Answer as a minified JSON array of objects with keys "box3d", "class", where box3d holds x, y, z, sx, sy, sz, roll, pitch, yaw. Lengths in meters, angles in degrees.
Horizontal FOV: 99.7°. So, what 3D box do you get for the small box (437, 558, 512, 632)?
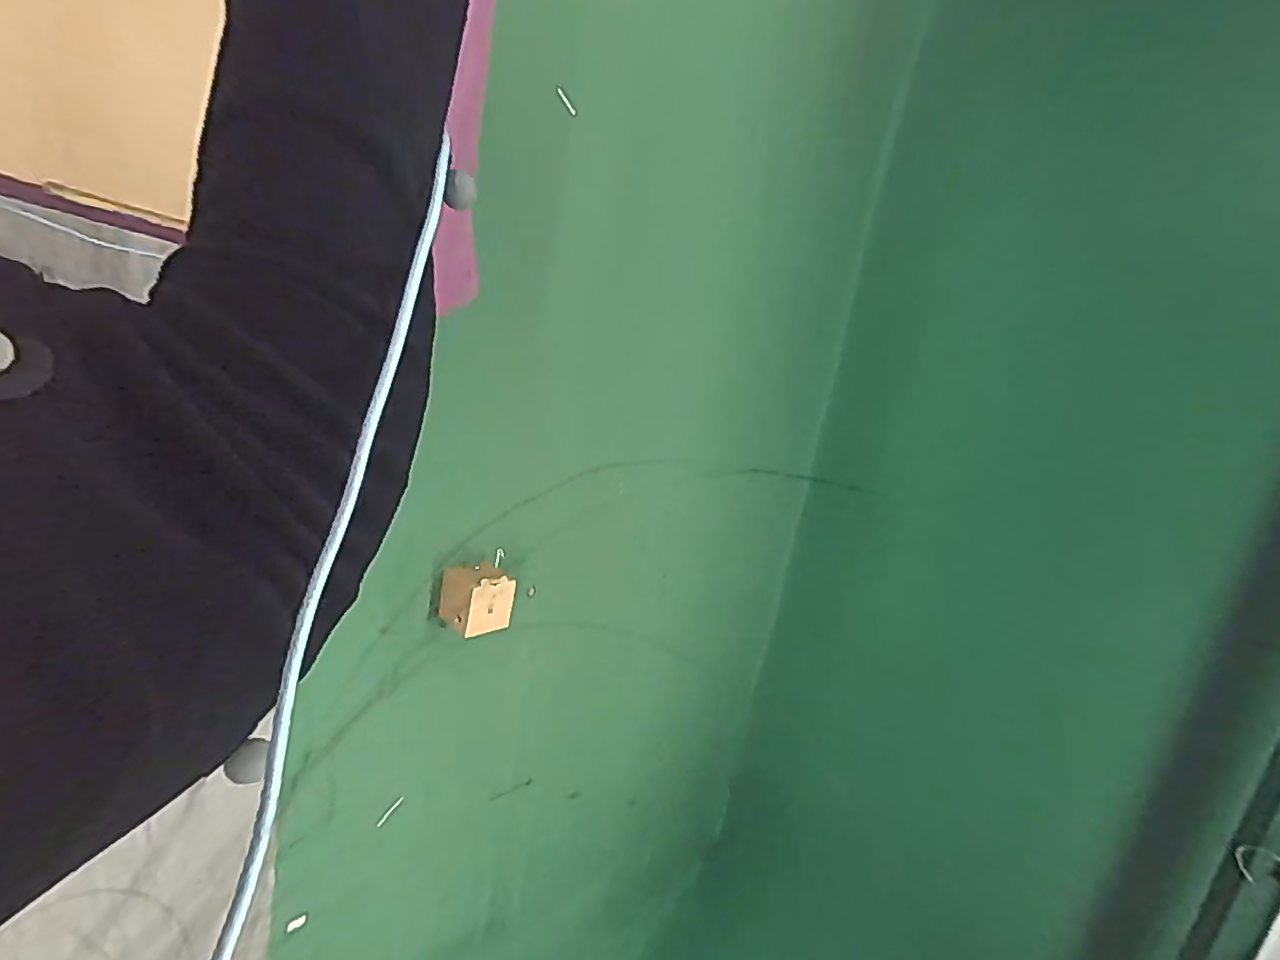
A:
[{"box3d":[-0.556,0.375,1.798,0.168,0.176,0.179,-1,106,-50],"class":"small box"}]
